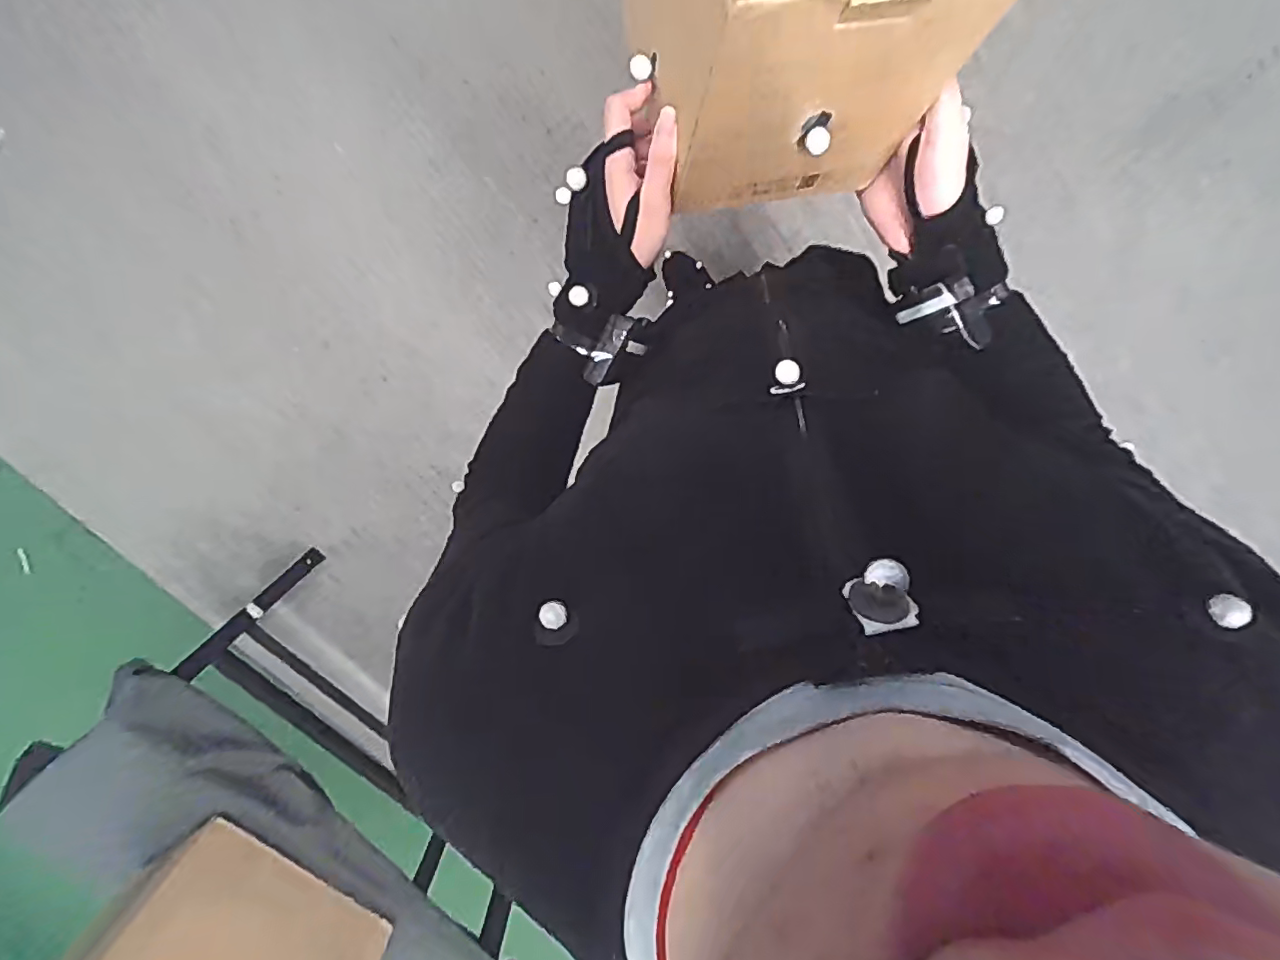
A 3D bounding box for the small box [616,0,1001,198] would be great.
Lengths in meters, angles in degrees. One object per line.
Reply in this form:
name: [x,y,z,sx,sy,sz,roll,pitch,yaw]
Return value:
small box: [0.084,-0.305,0.342,0.168,0.176,0.179,-11,86,-8]
